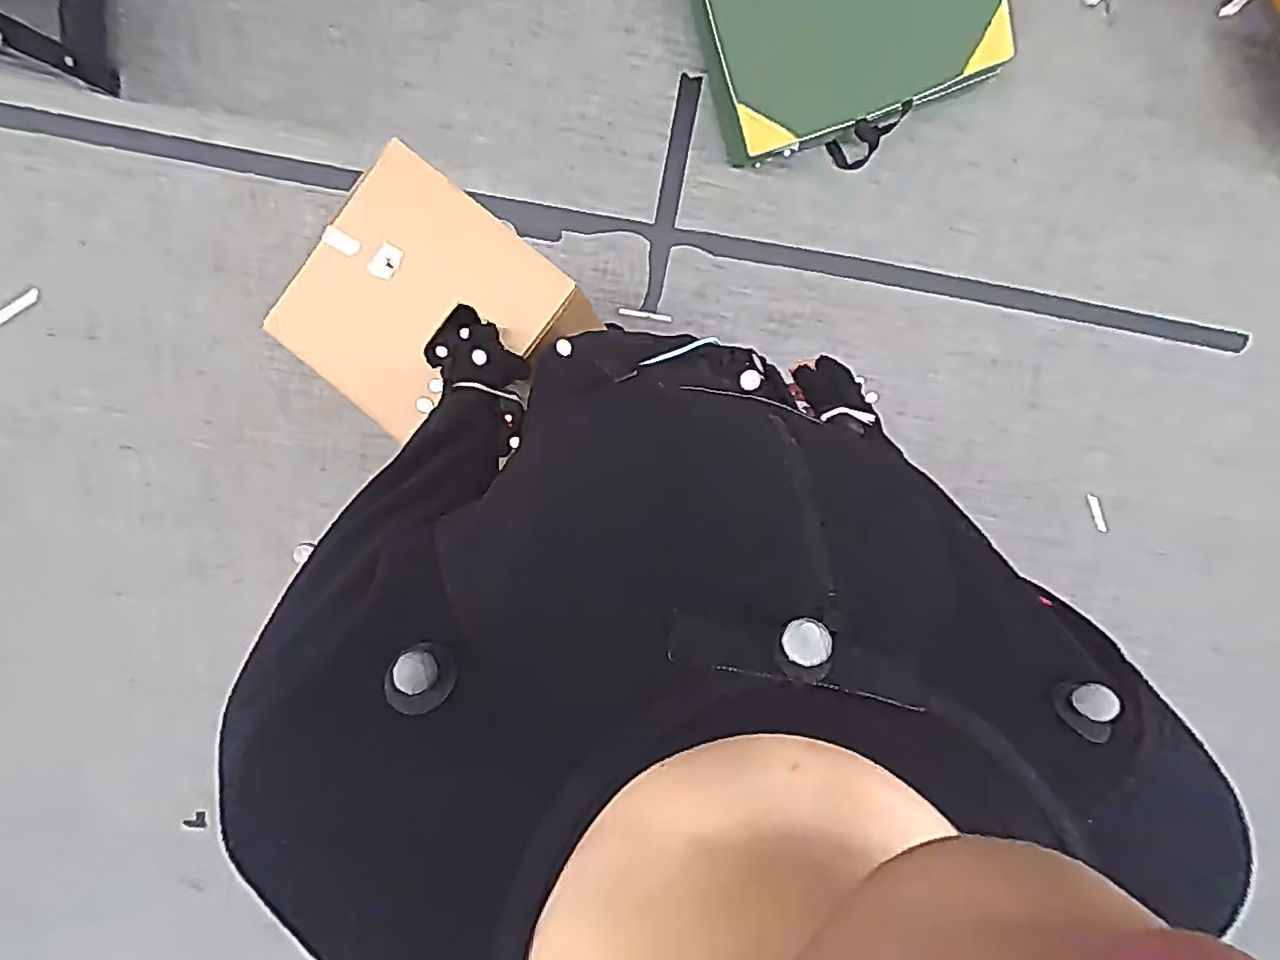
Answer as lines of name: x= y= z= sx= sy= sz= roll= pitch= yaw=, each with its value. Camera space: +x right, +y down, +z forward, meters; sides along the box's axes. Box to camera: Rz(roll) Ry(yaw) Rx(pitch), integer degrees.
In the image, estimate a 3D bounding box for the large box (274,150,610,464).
large box: x=-0.287 y=-0.249 z=0.918 sx=0.320 sy=0.408 sz=0.320 roll=41 pitch=96 yaw=1
